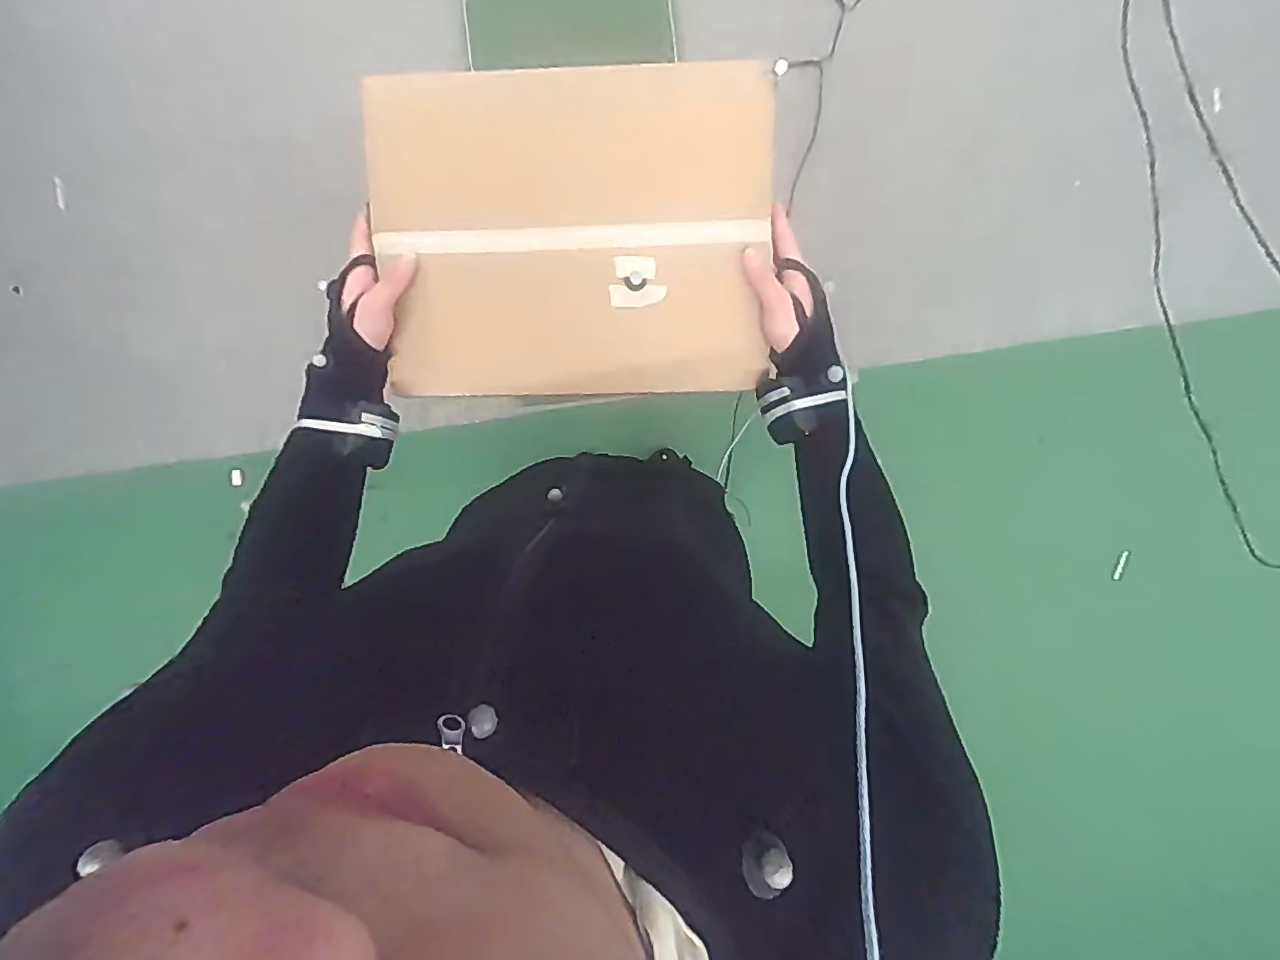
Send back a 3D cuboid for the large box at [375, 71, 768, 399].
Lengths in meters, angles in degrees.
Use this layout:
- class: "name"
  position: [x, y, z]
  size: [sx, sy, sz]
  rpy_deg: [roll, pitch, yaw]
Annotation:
- class: "large box"
  position: [-0.064, -0.271, 0.711]
  size: [0.408, 0.320, 0.320]
  rpy_deg: [-1, 100, 2]
